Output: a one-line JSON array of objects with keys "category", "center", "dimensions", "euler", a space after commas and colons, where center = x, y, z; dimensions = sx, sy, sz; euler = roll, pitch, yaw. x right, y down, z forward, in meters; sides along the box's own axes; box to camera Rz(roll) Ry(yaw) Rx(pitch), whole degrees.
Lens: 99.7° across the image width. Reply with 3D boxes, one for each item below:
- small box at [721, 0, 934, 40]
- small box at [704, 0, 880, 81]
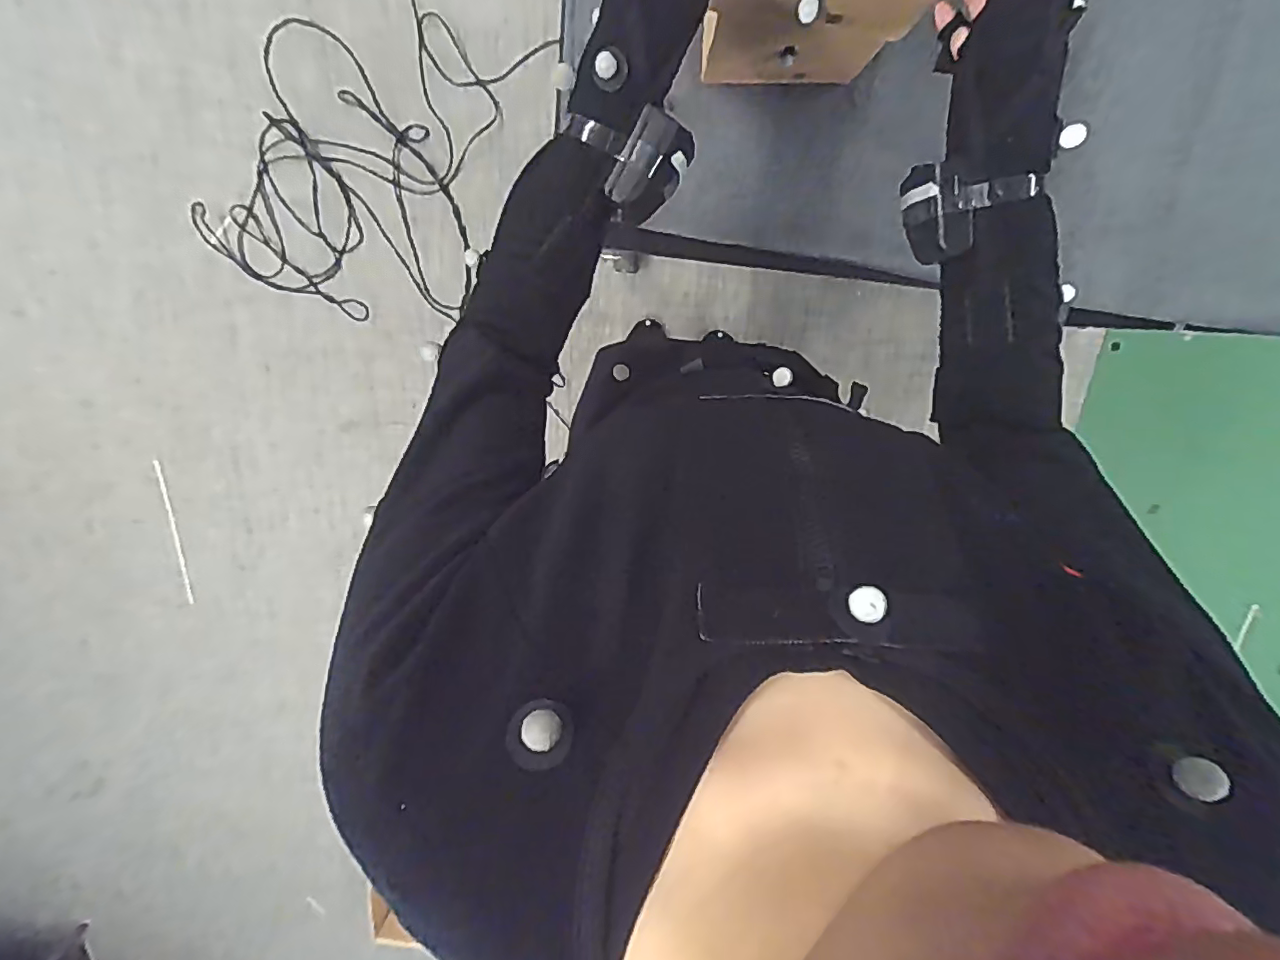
[{"category": "small box", "center": [0.145, -0.428, 0.340], "dimensions": [0.168, 0.176, 0.179], "euler": [8, 109, -1]}, {"category": "small box", "center": [0.150, -0.493, 0.492], "dimensions": [0.168, 0.176, 0.179], "euler": [1, 107, 1]}]
